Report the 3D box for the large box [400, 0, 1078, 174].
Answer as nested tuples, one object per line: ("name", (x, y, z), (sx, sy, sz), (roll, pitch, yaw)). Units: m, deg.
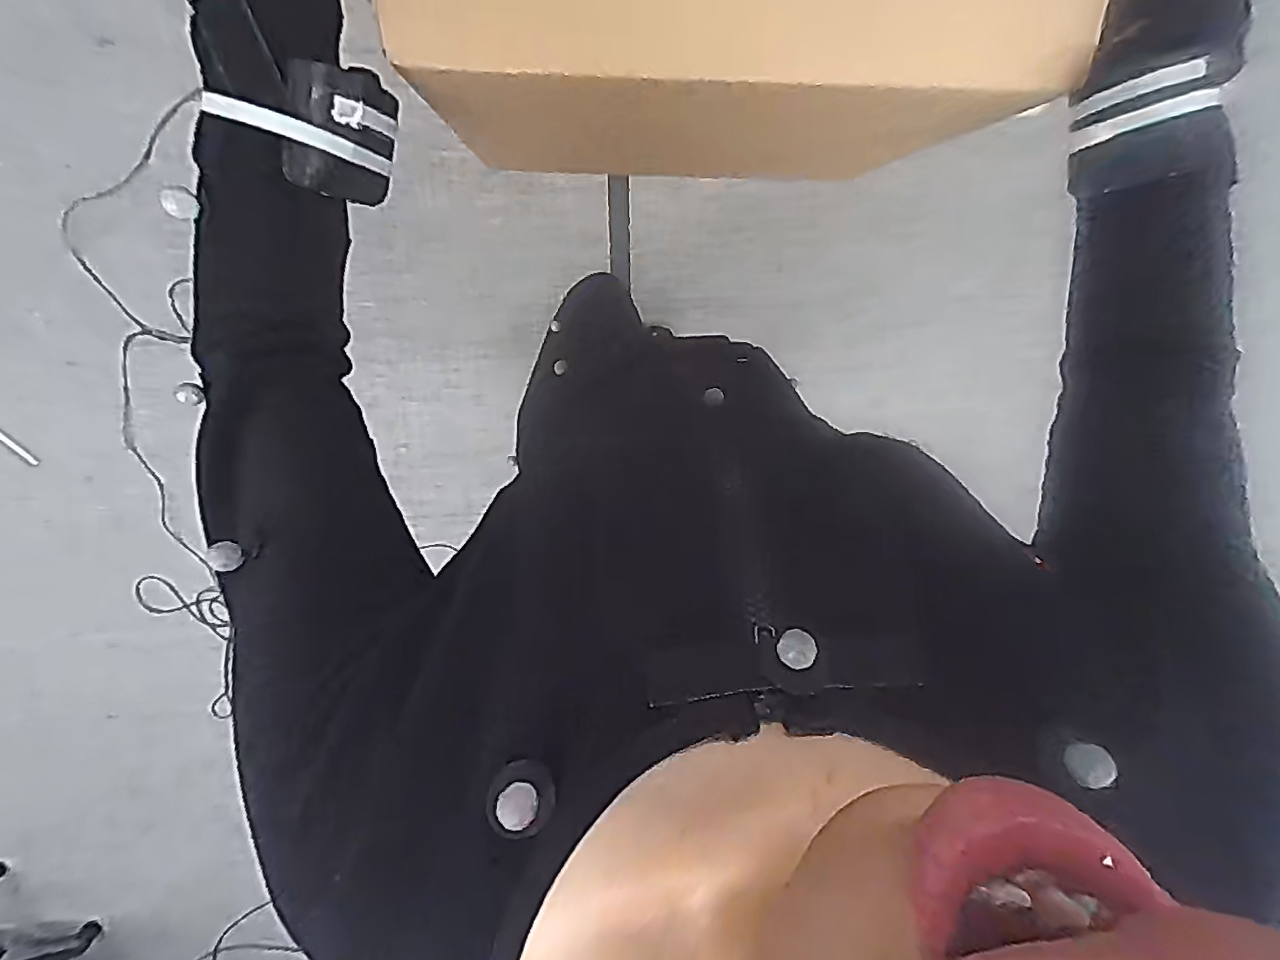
("large box", (0.048, -0.434, 0.407), (0.408, 0.320, 0.320), (-2, 111, -5))
